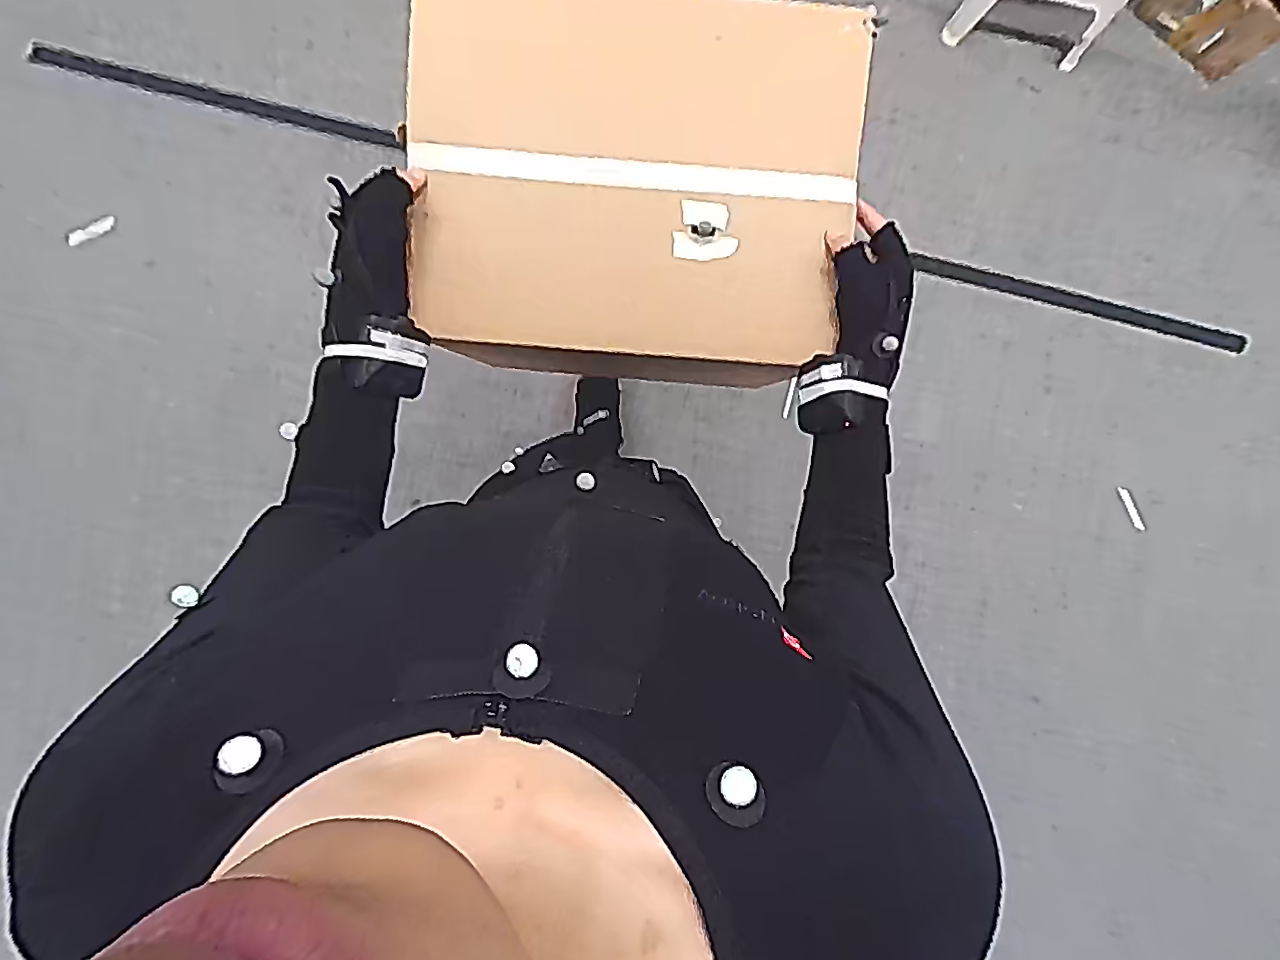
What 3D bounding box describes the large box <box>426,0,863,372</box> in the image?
[{"bbox_3d":[-0.005,-0.309,0.656,0.408,0.320,0.320,4,97,-2],"label":"large box"}]
